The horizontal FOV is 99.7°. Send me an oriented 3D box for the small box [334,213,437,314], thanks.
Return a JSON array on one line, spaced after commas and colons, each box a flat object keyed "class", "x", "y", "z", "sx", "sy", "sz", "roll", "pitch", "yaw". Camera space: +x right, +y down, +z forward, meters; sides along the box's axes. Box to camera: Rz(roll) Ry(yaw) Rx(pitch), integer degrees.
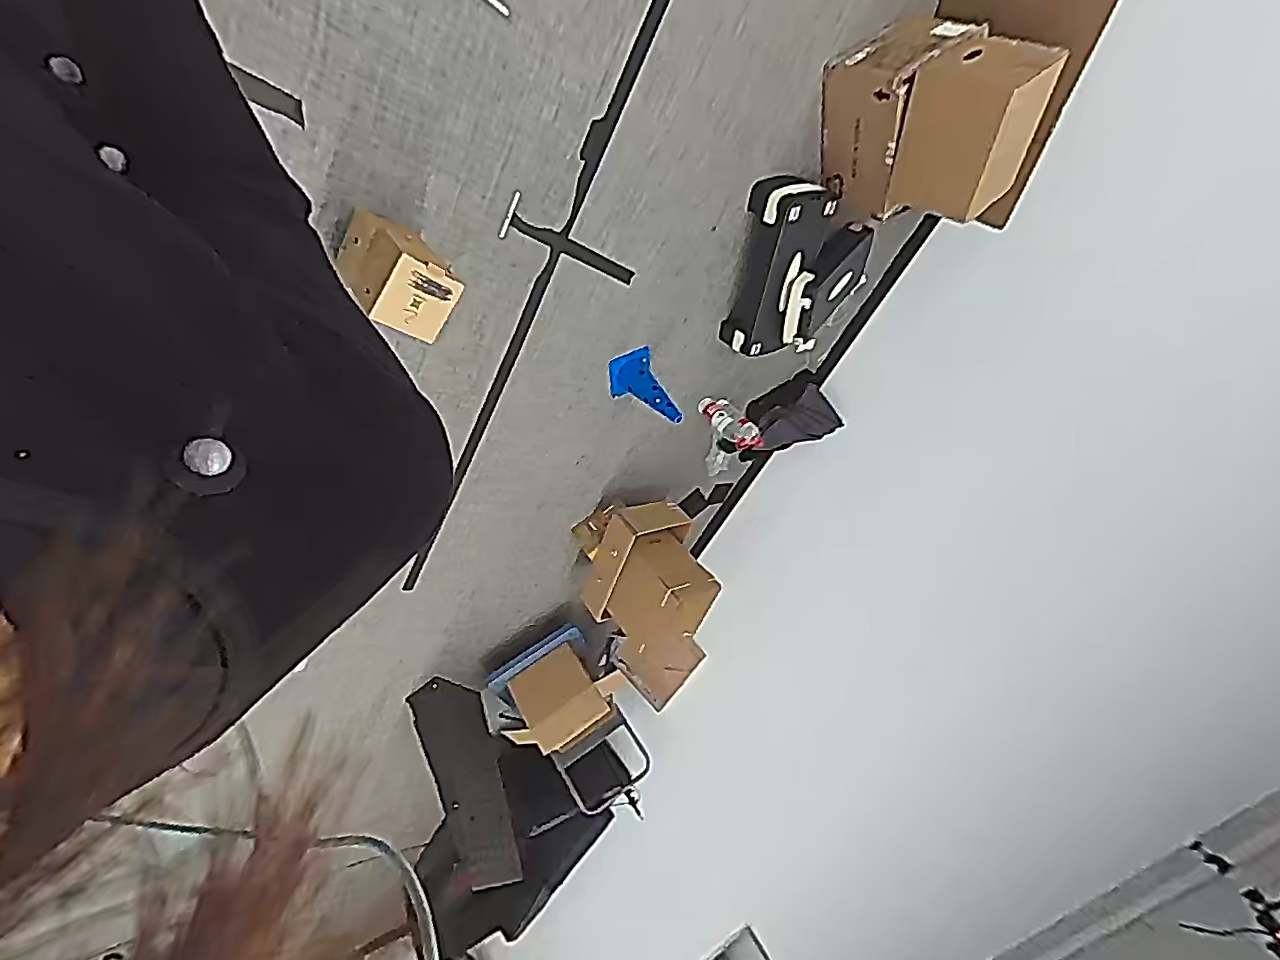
[{"class": "small box", "x": -0.671, "y": -0.568, "z": 1.411, "sx": 0.179, "sy": 0.176, "sz": 0.168, "roll": 9, "pitch": 121, "yaw": -50}]
